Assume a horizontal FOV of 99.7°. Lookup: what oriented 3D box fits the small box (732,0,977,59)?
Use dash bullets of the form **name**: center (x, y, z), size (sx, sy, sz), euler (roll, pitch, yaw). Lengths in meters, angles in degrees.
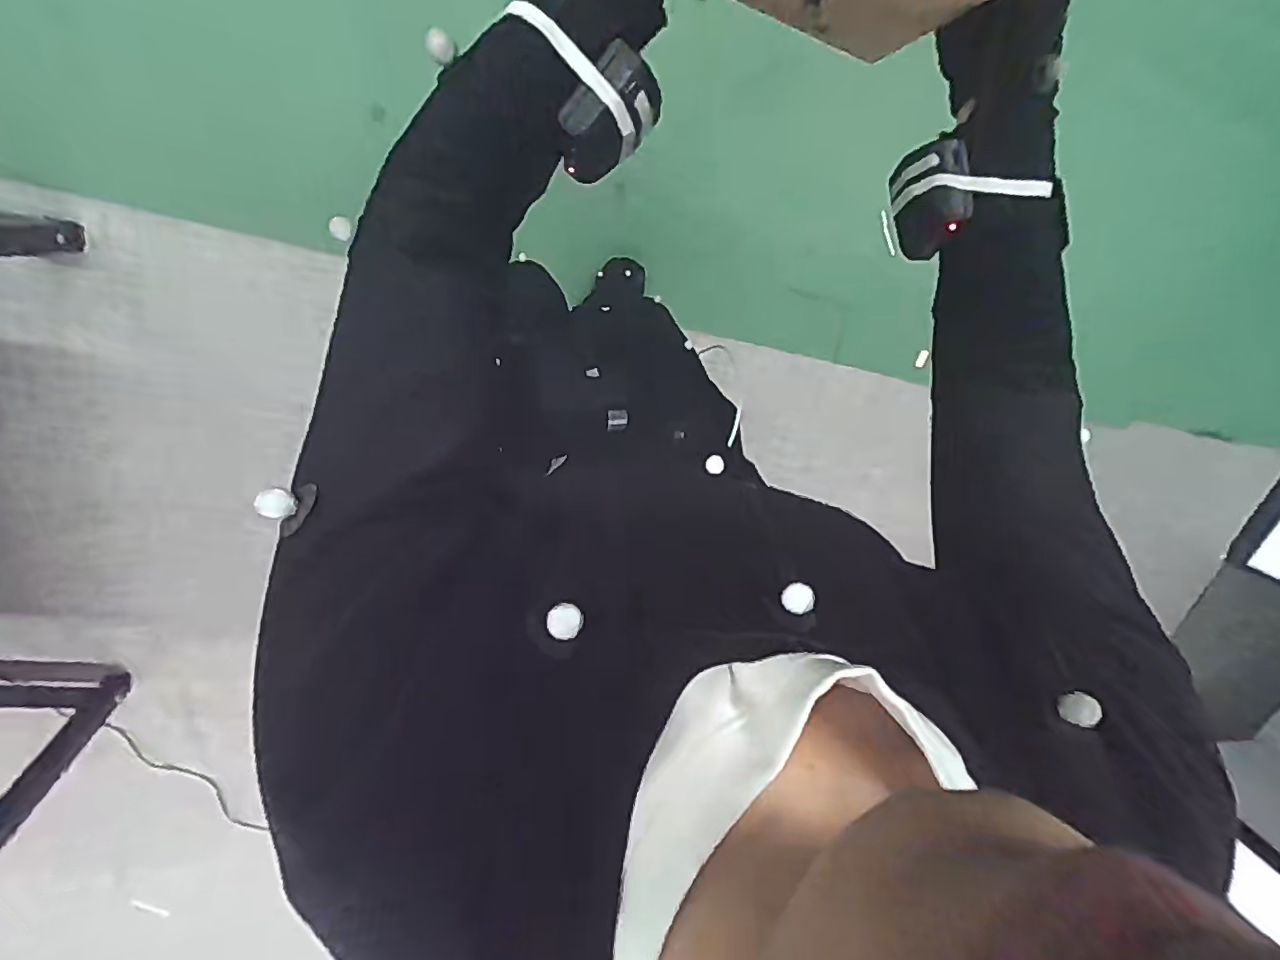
- **small box**: center (0.153, -0.420, 0.344), size (0.168, 0.176, 0.179), euler (14, 112, -14)
